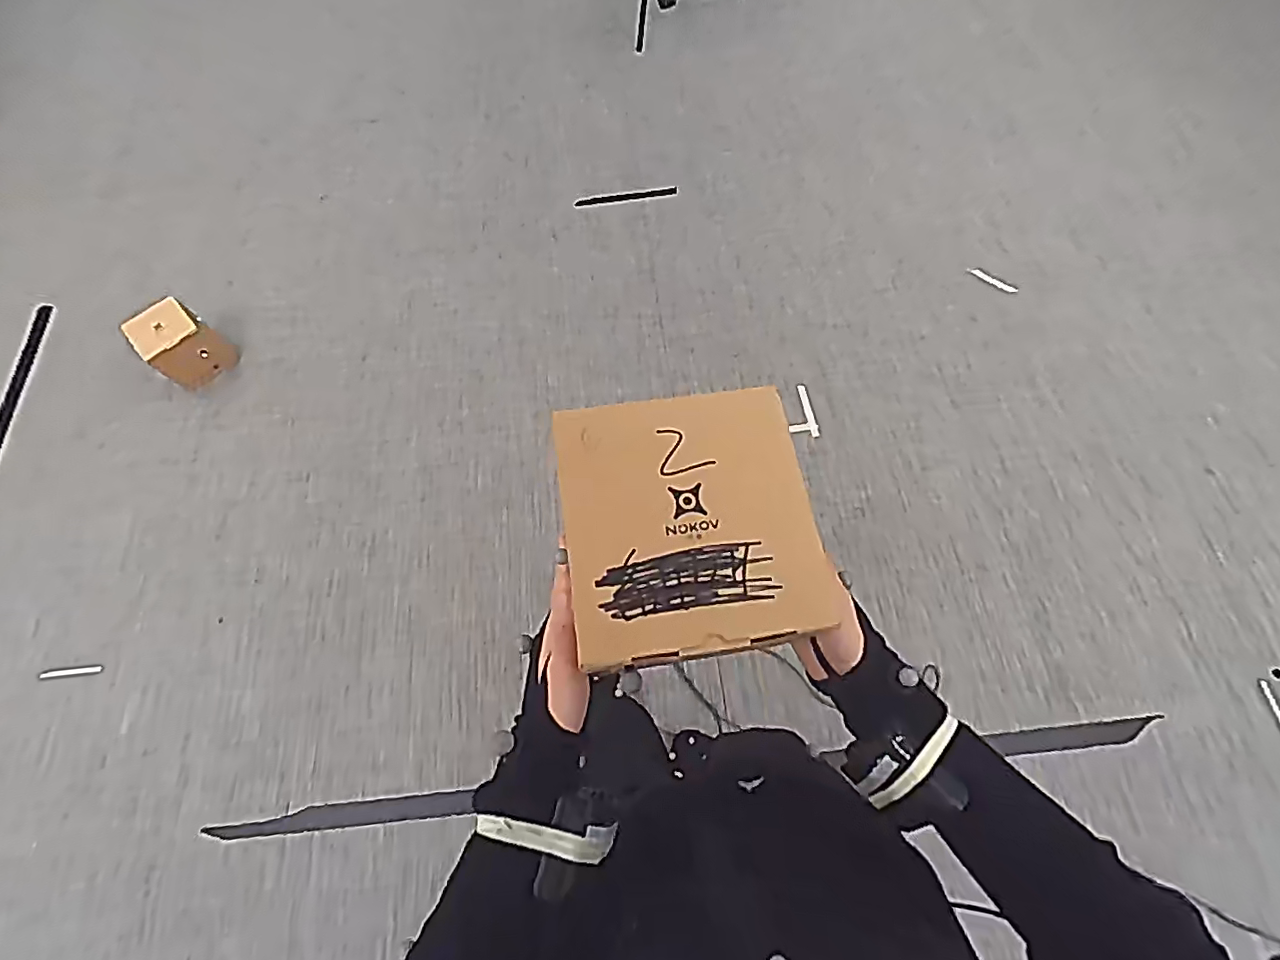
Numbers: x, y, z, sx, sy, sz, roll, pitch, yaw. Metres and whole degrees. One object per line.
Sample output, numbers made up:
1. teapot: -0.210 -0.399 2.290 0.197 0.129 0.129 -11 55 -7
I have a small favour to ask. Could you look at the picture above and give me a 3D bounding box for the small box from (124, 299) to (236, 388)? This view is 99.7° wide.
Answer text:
1. small box: -1.393 -0.406 1.651 0.168 0.176 0.179 -42 72 -15
